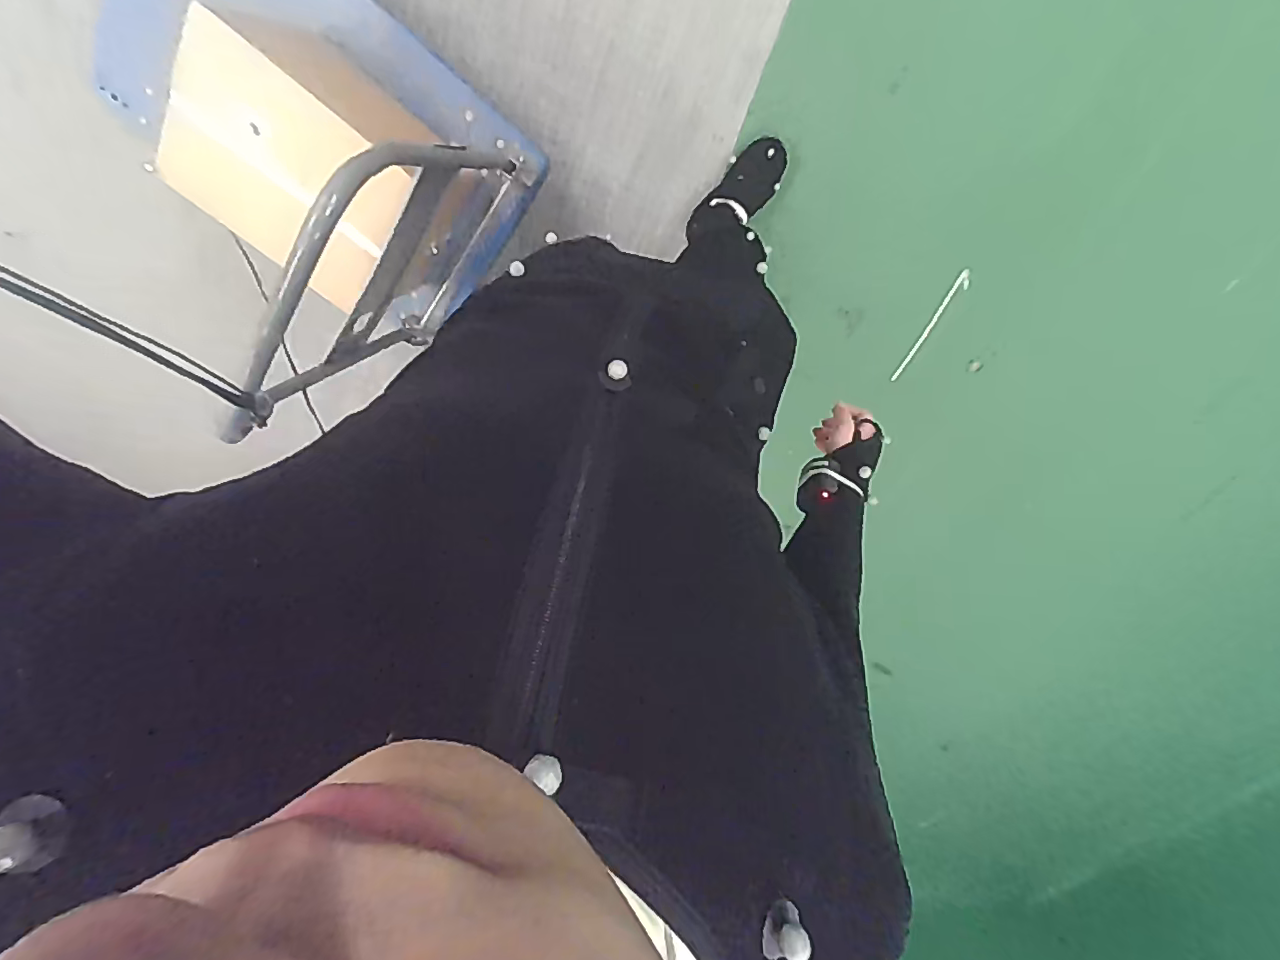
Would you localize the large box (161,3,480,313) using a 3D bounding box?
[{"bbox_3d":[-0.607,-0.616,1.084,0.408,0.320,0.320,37,119,-15],"label":"large box"}]
